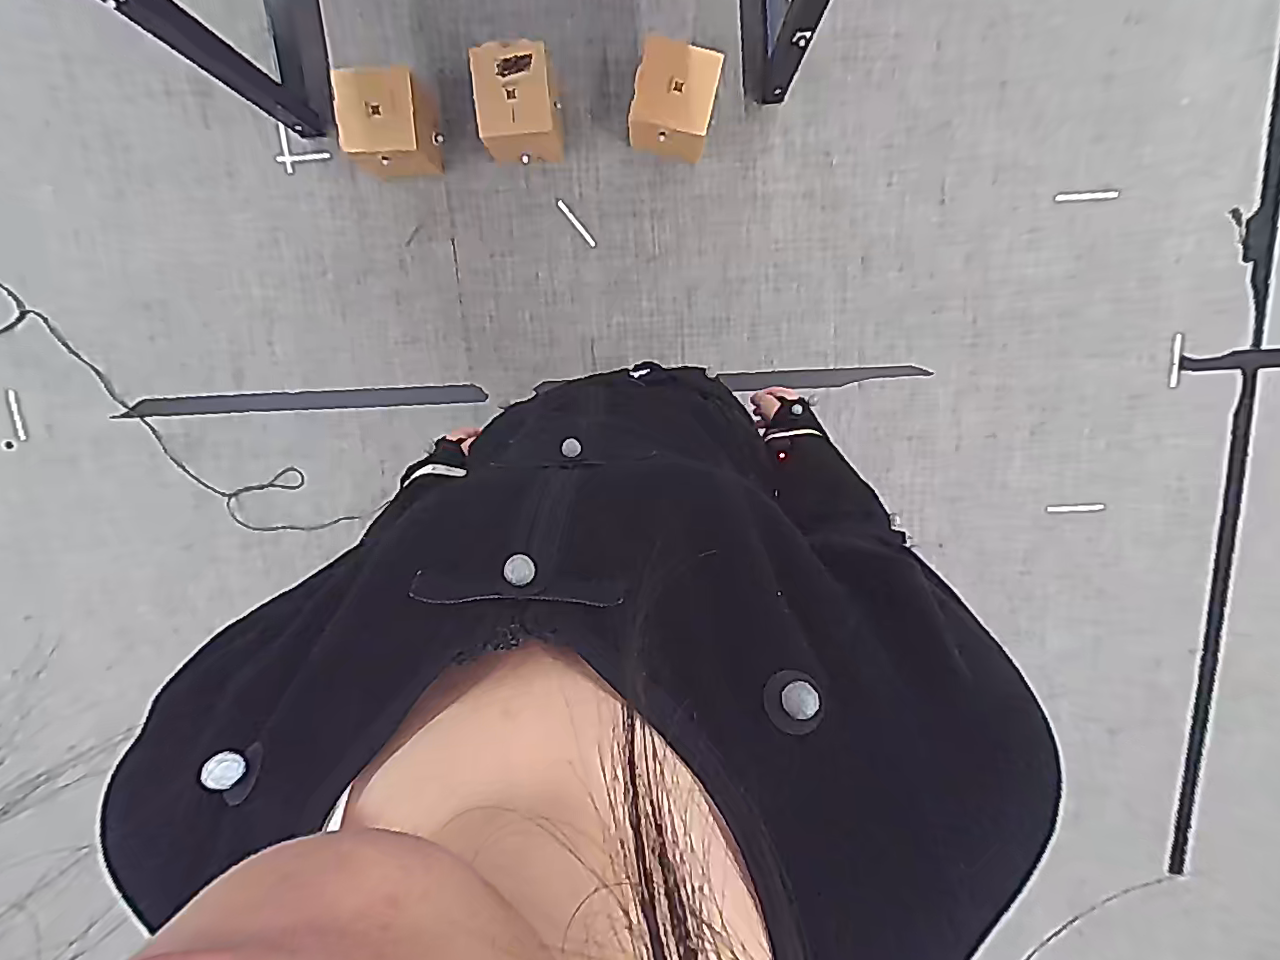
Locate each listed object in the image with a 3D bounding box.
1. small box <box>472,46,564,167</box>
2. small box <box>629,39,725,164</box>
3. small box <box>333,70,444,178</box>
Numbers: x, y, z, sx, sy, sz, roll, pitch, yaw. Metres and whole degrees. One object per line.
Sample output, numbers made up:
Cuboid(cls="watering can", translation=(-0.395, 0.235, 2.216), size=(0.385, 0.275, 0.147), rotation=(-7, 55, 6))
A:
Cuboid(cls="small box", translation=(-0.275, -0.855, 1.251), size=(0.168, 0.176, 0.179), rotation=(-4, 102, 2))
Cuboid(cls="small box", translation=(0.081, -0.858, 1.246), size=(0.179, 0.176, 0.168), rotation=(14, 102, -1))
Cuboid(cls="small box", translation=(-0.579, -0.822, 1.265), size=(0.179, 0.176, 0.168), rotation=(-1, 102, 0))
